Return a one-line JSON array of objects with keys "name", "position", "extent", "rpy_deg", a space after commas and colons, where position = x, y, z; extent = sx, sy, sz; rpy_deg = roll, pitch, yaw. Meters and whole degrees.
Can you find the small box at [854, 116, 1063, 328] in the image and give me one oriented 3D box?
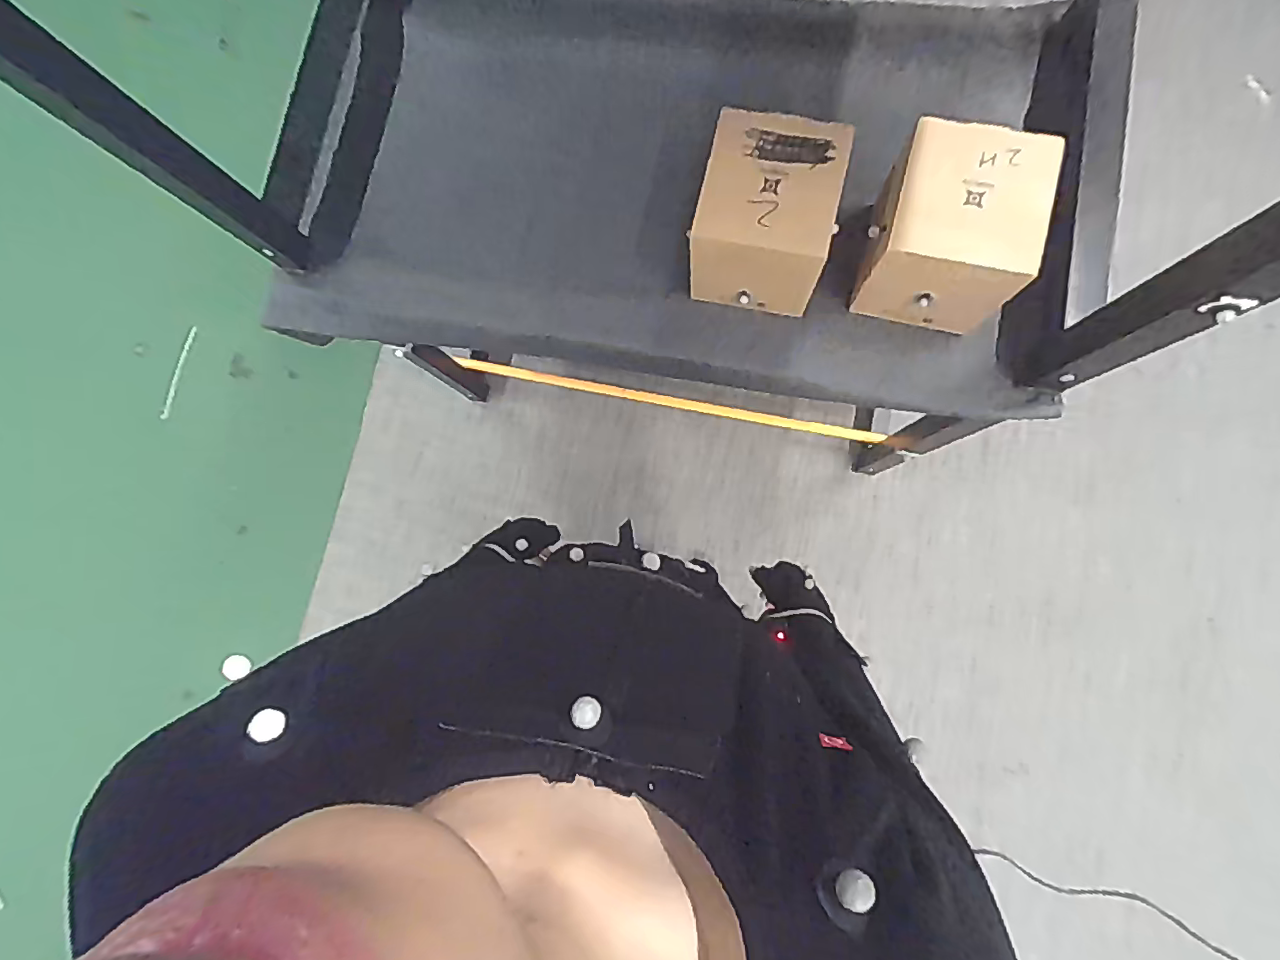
[{"name": "small box", "position": [0.394, -0.320, 0.701], "extent": [0.168, 0.176, 0.179], "rpy_deg": [15, 84, 7]}]
